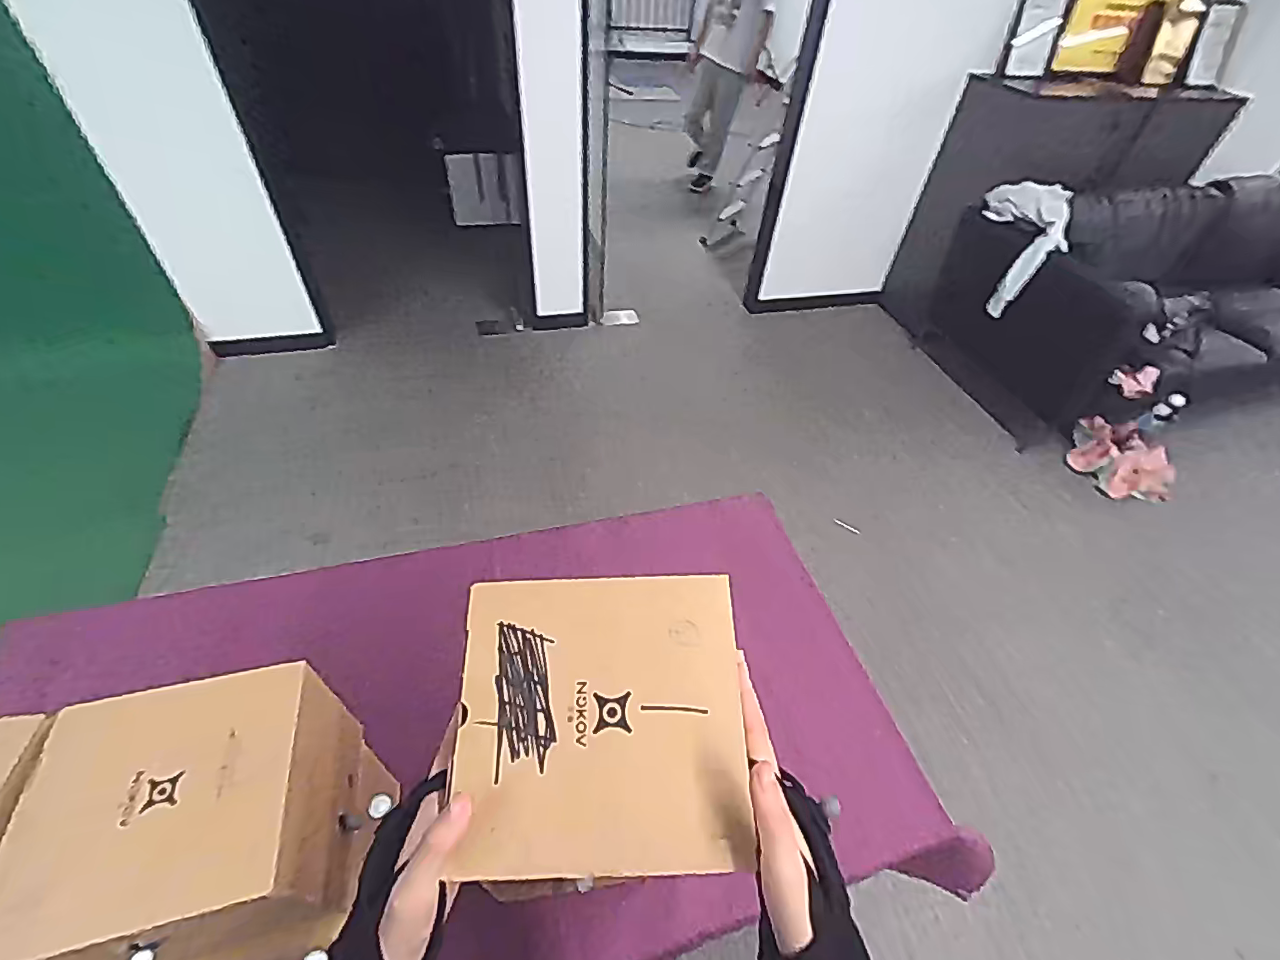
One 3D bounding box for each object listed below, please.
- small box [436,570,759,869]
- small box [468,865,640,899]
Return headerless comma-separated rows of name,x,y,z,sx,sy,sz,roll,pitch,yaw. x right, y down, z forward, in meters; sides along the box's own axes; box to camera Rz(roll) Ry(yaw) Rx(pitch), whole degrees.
small box,-0.021,0.170,0.392,0.179,0.176,0.168,-1,63,0
small box,-0.086,0.354,0.613,0.179,0.176,0.168,-3,47,-9
